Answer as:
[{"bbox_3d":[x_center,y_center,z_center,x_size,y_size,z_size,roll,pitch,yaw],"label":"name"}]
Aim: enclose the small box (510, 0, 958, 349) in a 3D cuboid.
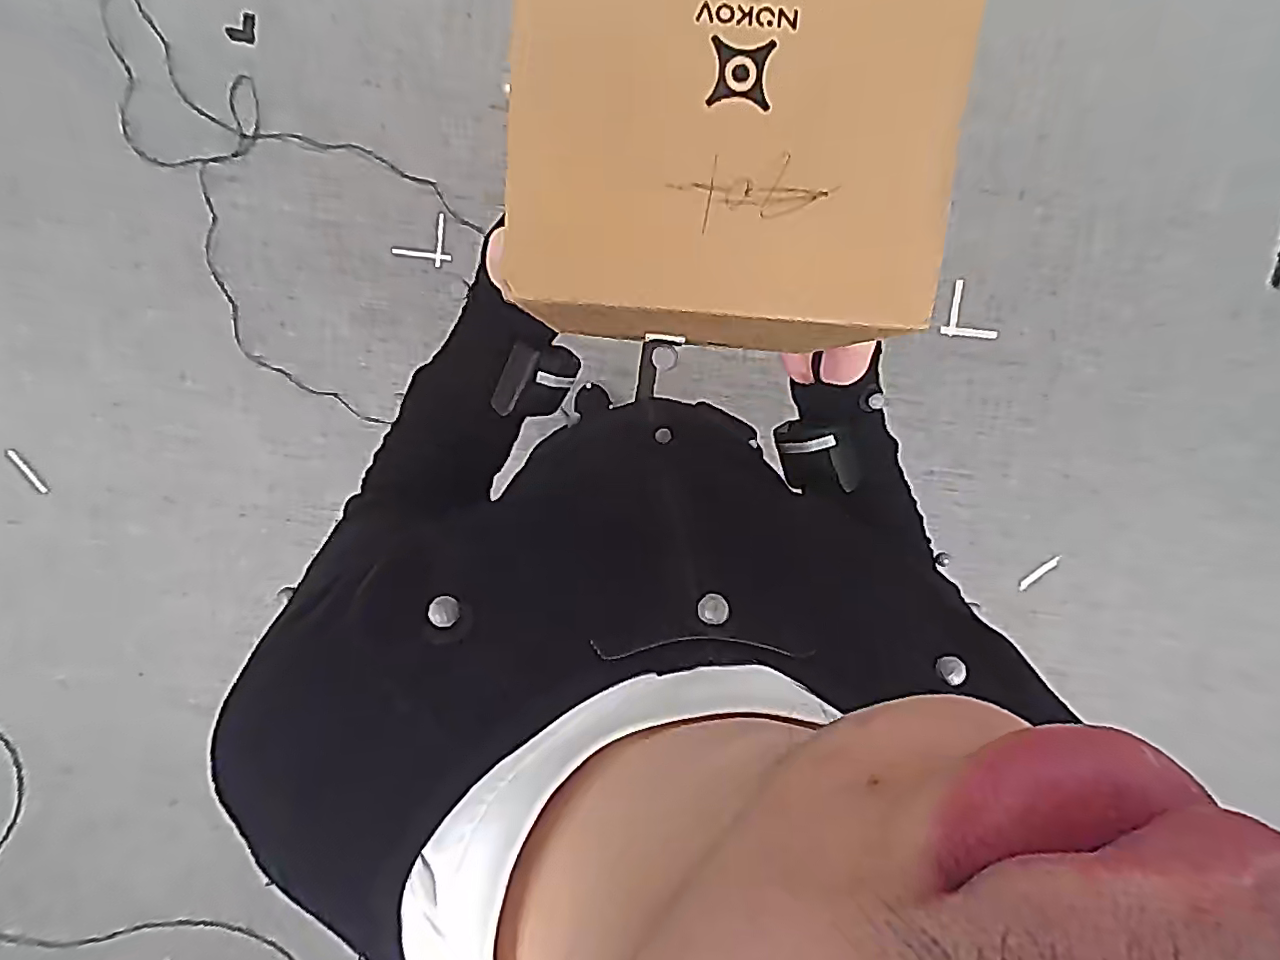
[{"bbox_3d":[0.034,-0.169,0.285,0.168,0.176,0.179,4,101,-1],"label":"small box"}]
